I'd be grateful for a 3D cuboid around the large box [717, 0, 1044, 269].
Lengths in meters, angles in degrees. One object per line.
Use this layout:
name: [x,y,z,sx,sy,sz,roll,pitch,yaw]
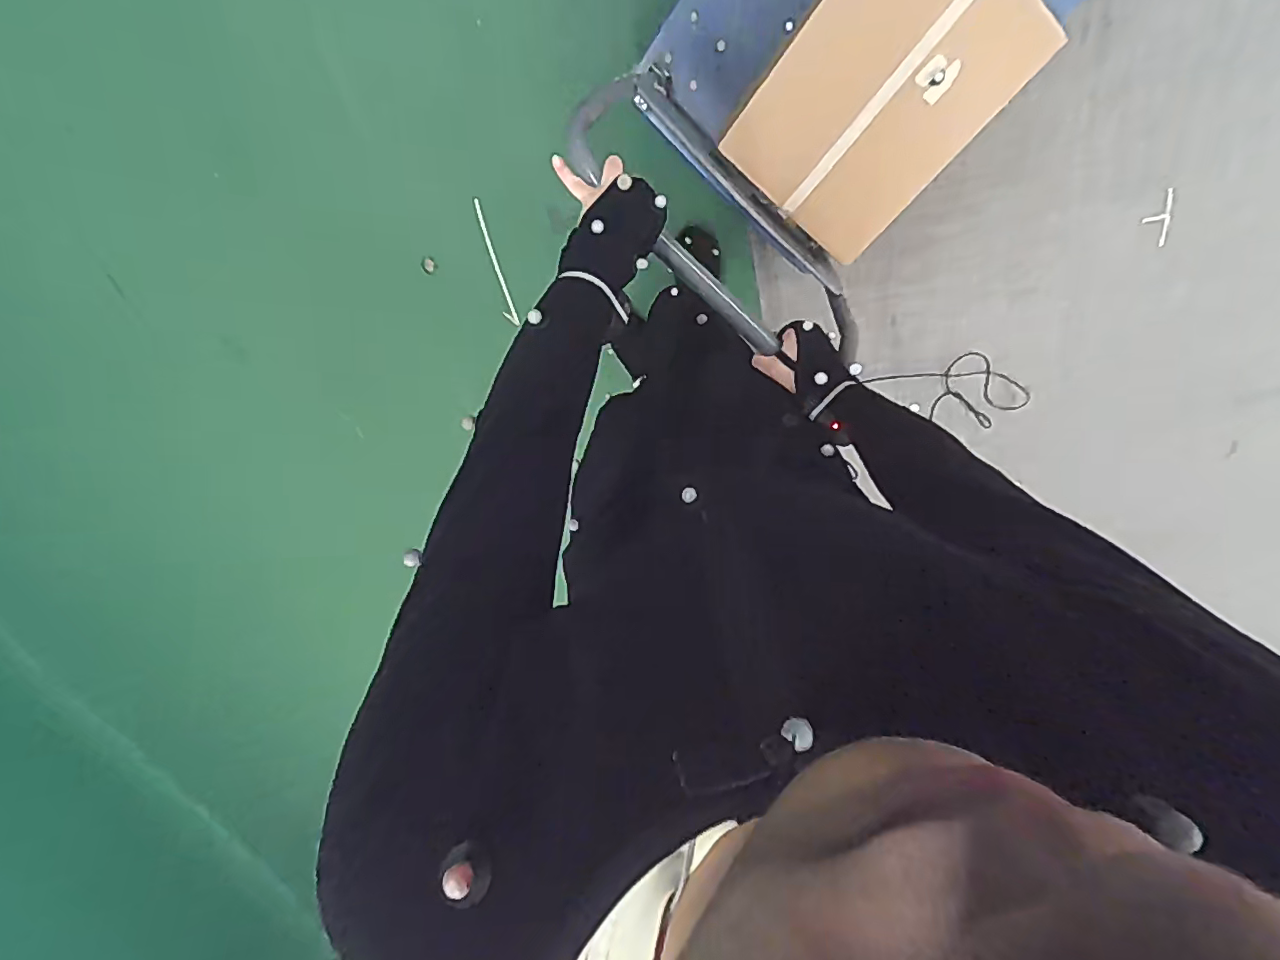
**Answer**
large box: [0.383,-0.675,0.984,0.320,0.320,0.408,35,122,-16]
